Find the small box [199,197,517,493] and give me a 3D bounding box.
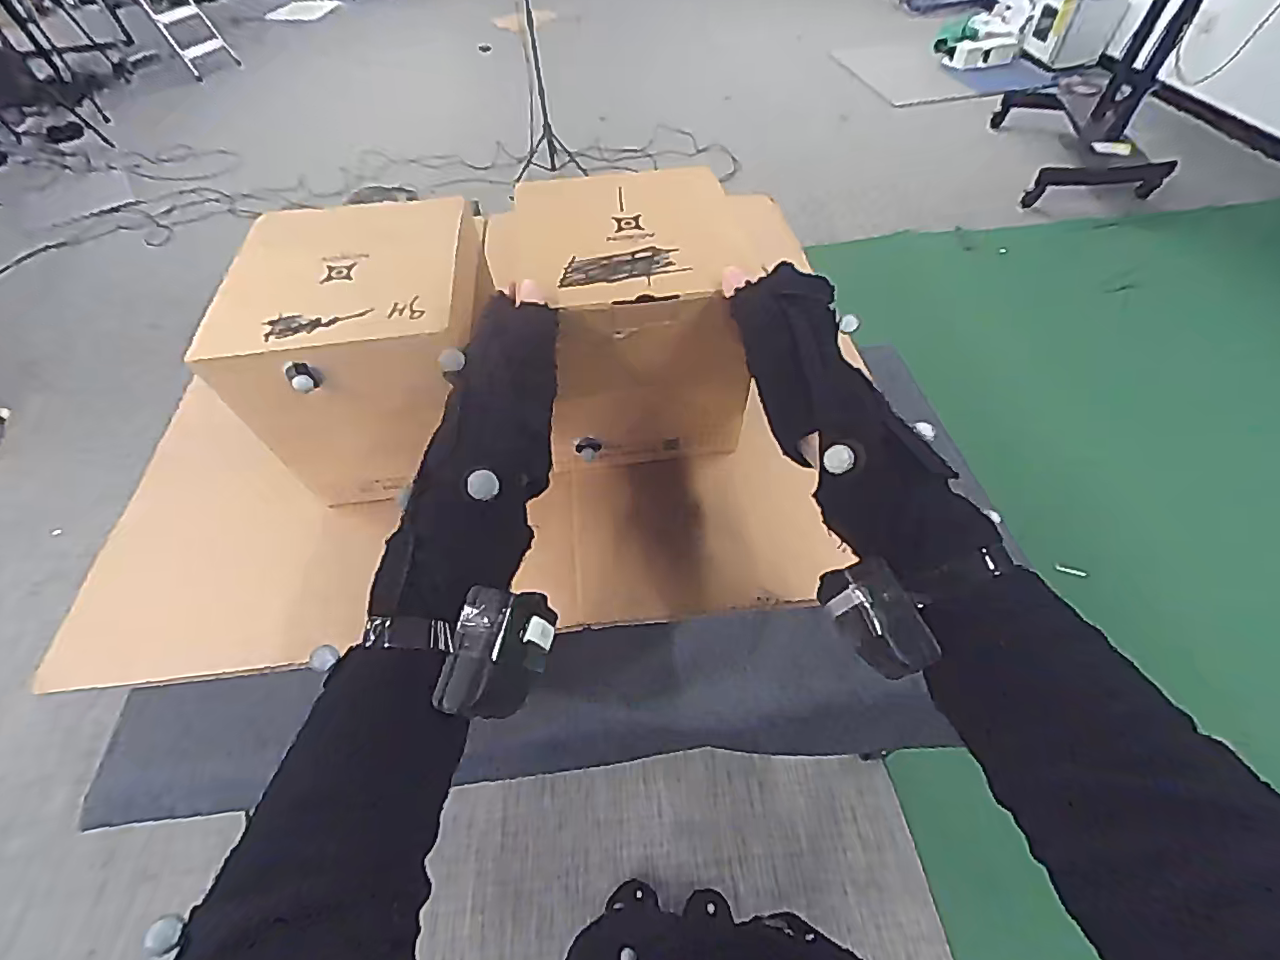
[{"bbox_3d":[-0.208,-0.112,0.463,0.168,0.176,0.179,-7,53,0],"label":"small box"}]
